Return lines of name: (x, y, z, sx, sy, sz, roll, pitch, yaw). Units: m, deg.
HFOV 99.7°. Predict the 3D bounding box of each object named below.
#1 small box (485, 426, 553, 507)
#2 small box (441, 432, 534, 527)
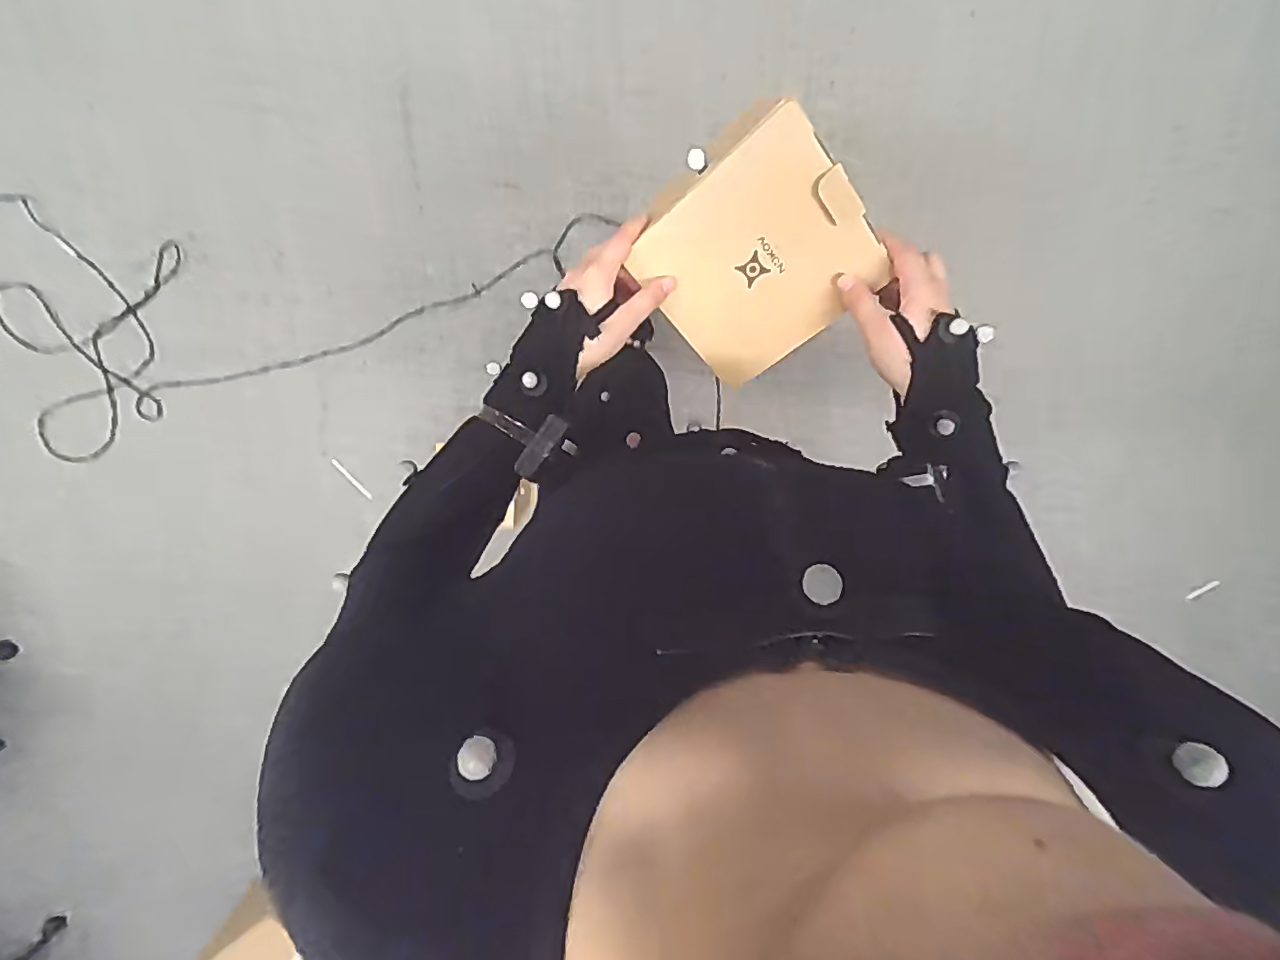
small box: (-0.319, -0.041, 1.382, 0.168, 0.176, 0.179, 3, 104, 0)
small box: (-0.337, -0.006, 1.222, 0.168, 0.176, 0.179, 4, 103, -1)
